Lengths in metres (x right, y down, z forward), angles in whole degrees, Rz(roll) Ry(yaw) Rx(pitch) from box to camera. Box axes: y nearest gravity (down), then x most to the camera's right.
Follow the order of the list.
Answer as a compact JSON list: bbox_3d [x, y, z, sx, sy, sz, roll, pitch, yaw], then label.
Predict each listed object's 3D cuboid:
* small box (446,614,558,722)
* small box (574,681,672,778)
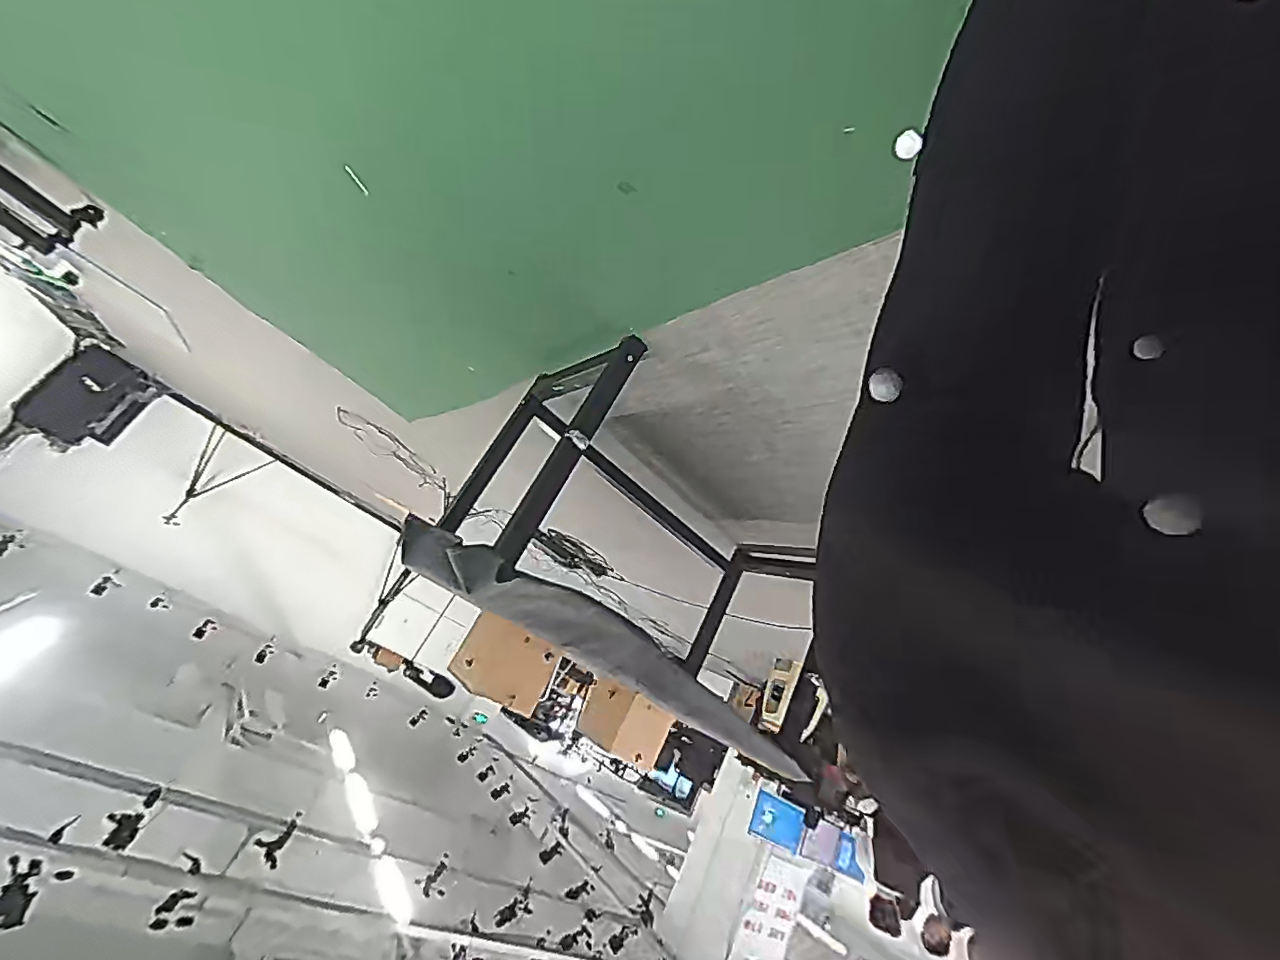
[{"bbox_3d":[-0.319,0.433,1.271,0.168,0.176,0.179,40,158,-29],"label":"small box"},{"bbox_3d":[-0.044,0.673,1.481,0.168,0.176,0.179,40,157,-29],"label":"small box"}]
